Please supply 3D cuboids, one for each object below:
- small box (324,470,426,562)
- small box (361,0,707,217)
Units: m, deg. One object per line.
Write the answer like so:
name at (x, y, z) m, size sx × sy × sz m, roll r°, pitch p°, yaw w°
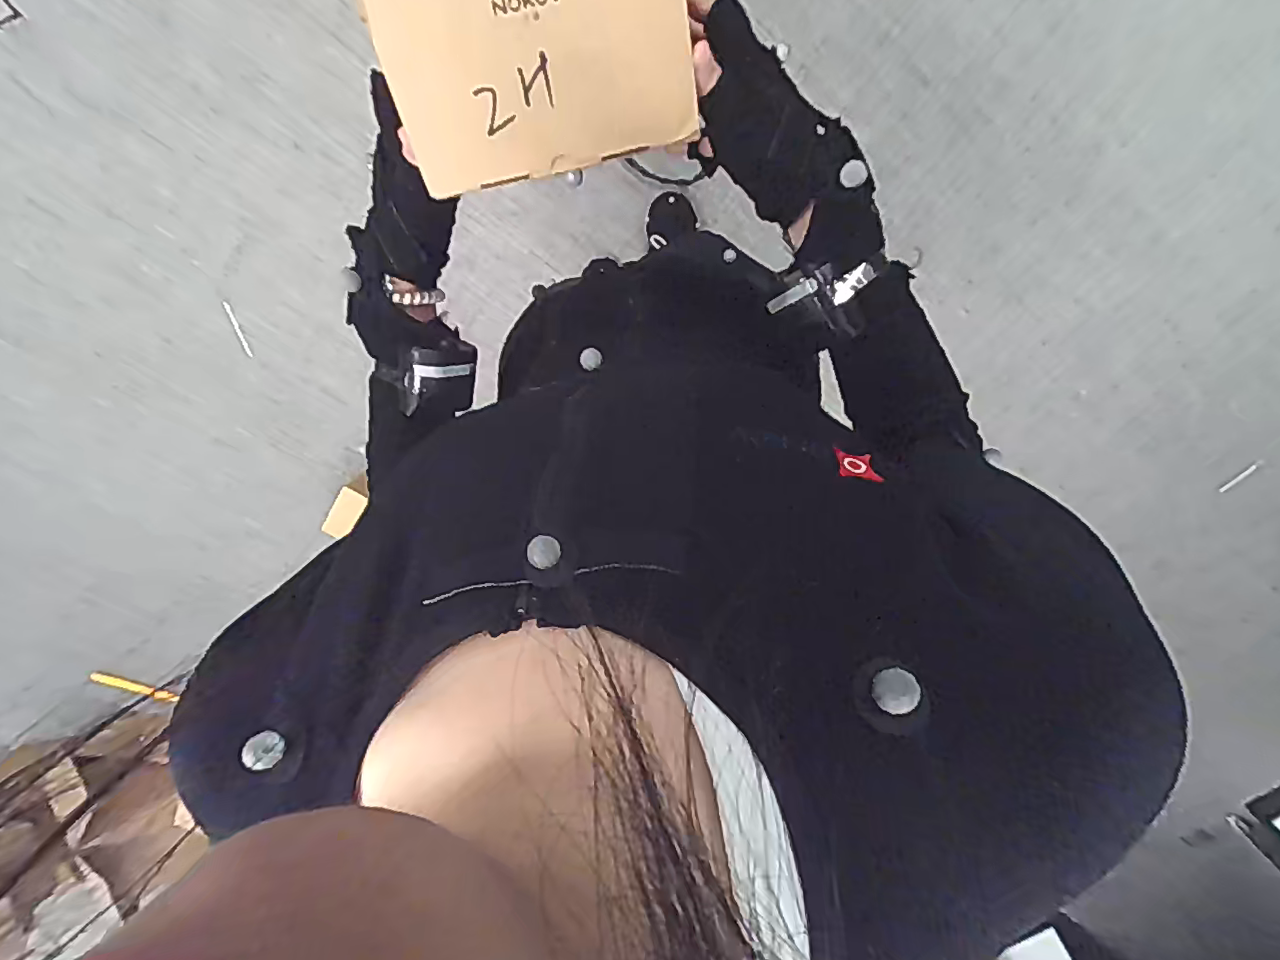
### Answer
small box at (-0.742, 0.092, 1.528) m, size 0.179 × 0.176 × 0.168 m, roll 32°, pitch 112°, yaw -15°
small box at (-0.063, -0.283, 0.336) m, size 0.168 × 0.176 × 0.179 m, roll -11°, pitch 125°, yaw 2°
